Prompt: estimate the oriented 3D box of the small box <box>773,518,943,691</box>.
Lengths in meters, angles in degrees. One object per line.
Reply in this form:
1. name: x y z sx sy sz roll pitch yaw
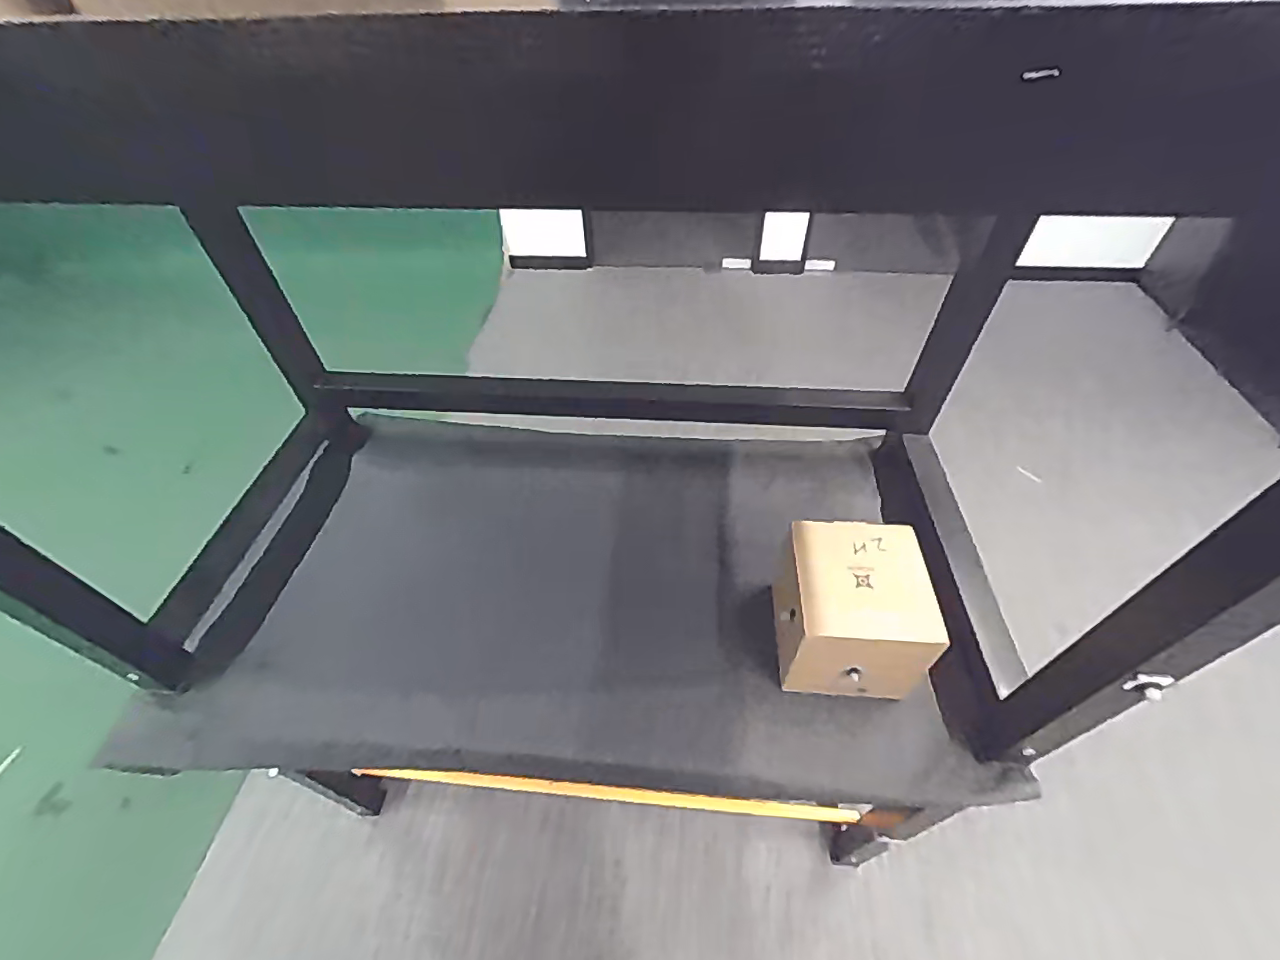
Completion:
1. small box: 0.283 0.174 0.747 0.168 0.176 0.179 3 47 4
